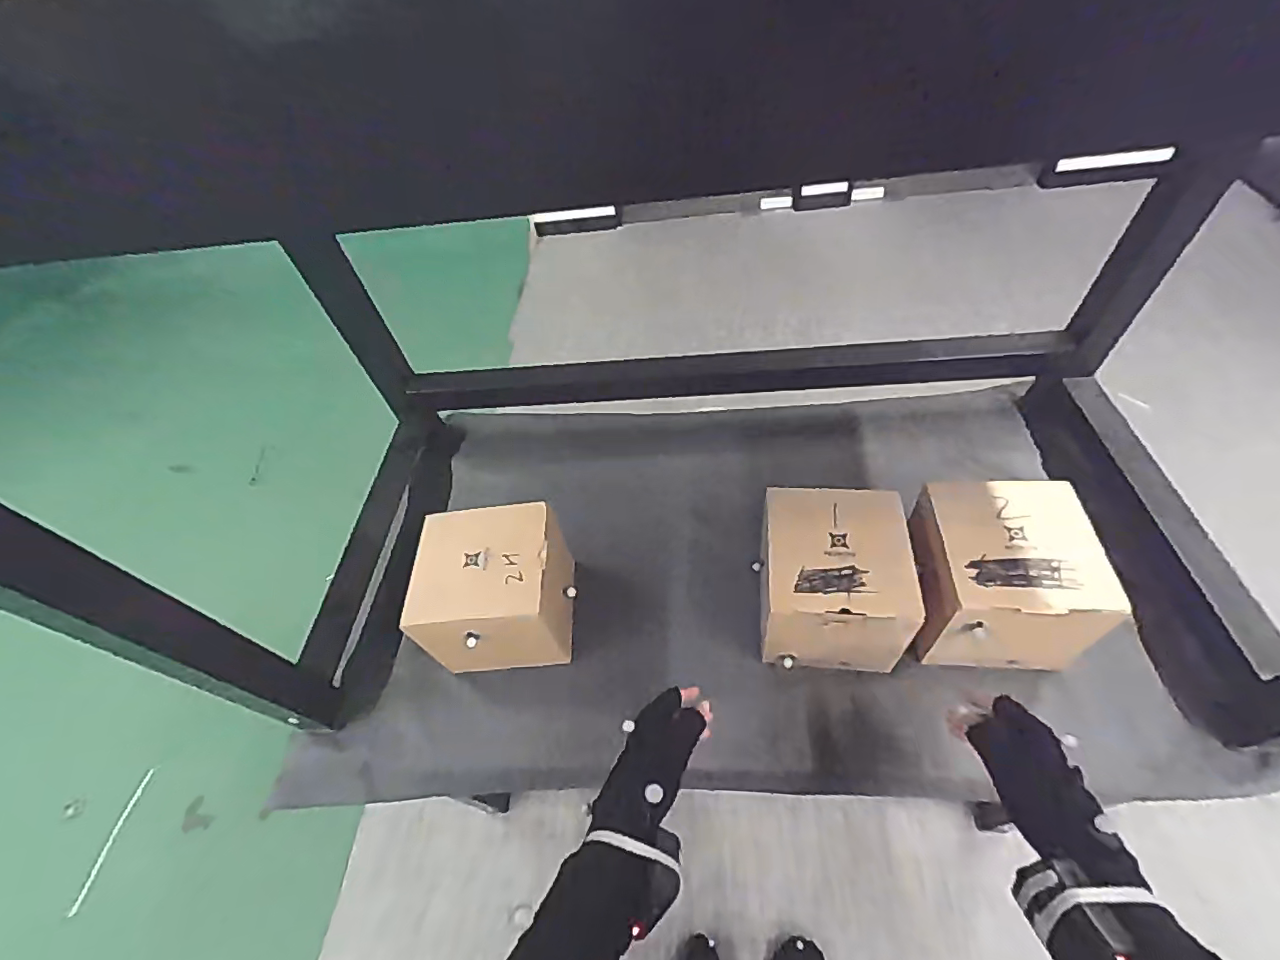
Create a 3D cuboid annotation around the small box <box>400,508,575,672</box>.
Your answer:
[{"bbox_3d":[-0.198,0.159,0.759,0.179,0.176,0.168,-6,52,4],"label":"small box"}]
